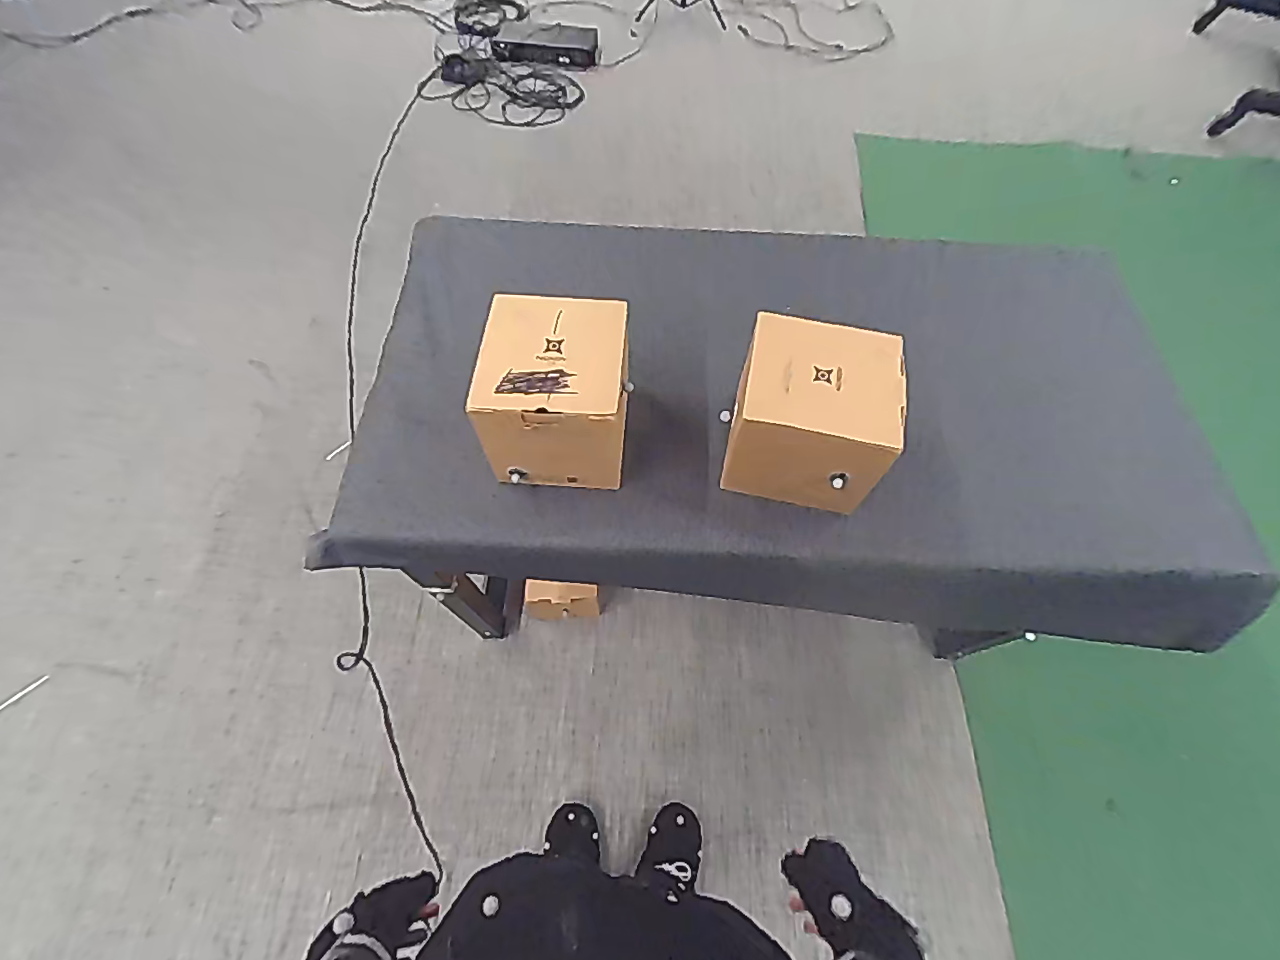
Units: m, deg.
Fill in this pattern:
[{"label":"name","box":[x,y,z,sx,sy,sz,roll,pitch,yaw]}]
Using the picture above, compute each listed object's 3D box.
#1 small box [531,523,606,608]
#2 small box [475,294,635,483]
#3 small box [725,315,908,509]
[{"label":"small box","box":[-0.172,0.218,1.347,0.168,0.176,0.179,-2,64,-2]},{"label":"small box","box":[-0.095,-0.110,0.695,0.168,0.176,0.179,4,62,1]},{"label":"small box","box":[0.216,-0.078,0.688,0.179,0.176,0.168,11,62,6]}]
